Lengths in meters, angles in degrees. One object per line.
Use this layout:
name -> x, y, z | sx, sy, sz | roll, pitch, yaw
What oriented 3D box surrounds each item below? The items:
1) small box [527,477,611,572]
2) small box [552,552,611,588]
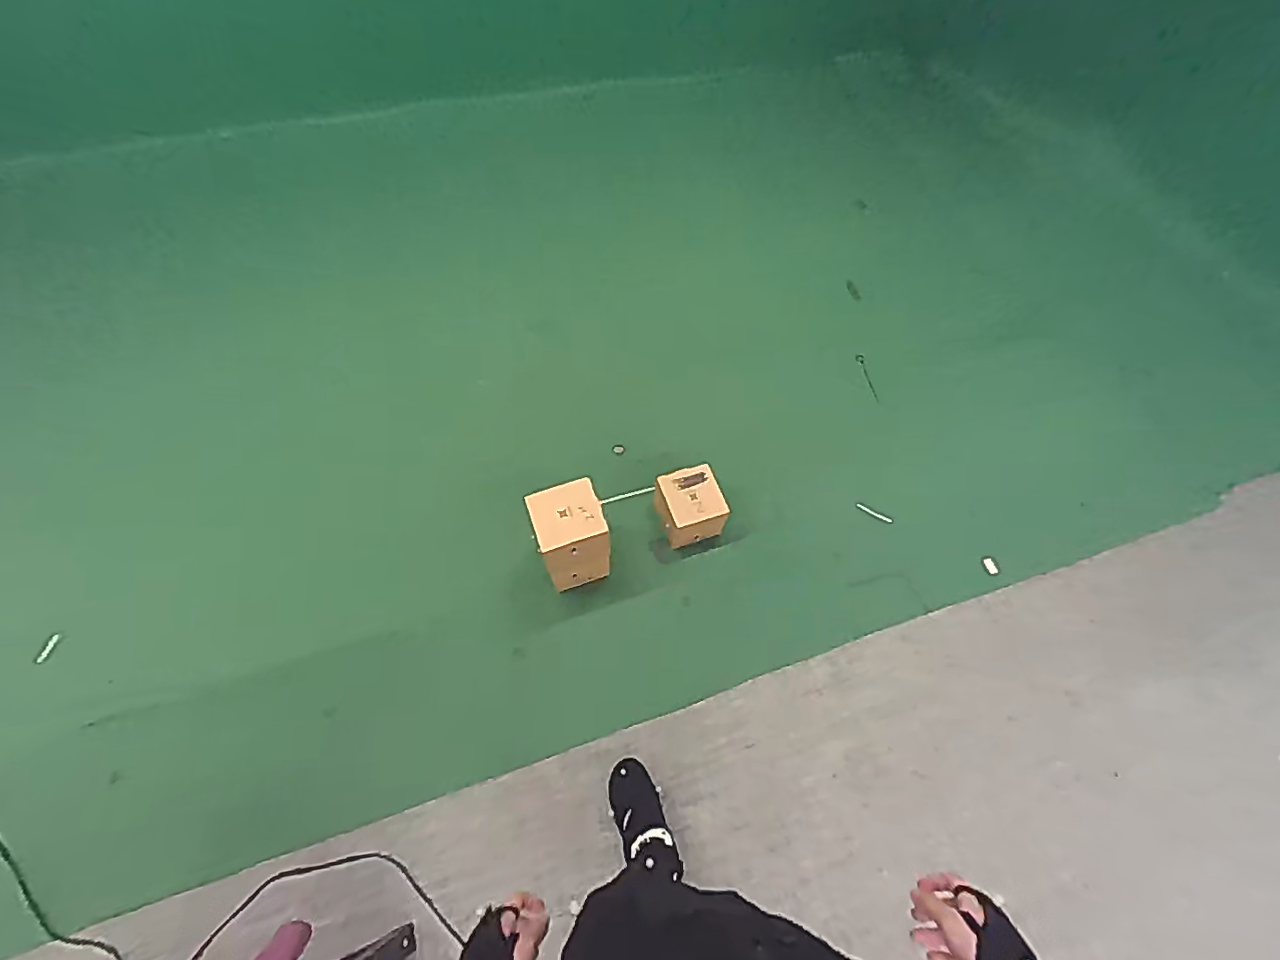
small box -> -0.182, 0.123, 1.422 | 0.179, 0.176, 0.168 | -17, 63, -12
small box -> -0.187, 0.198, 1.568 | 0.168, 0.176, 0.179 | -18, 62, -11
